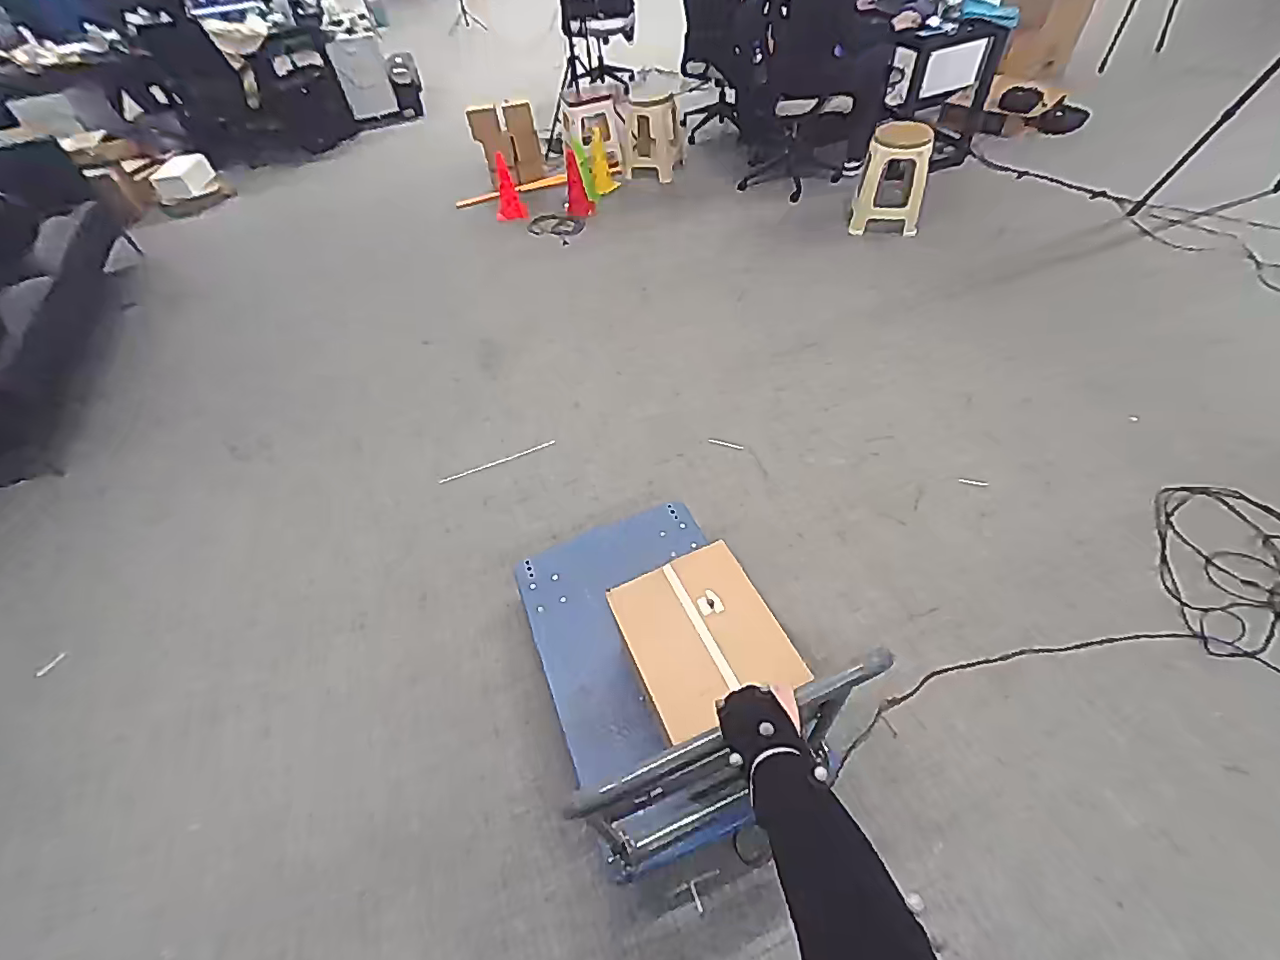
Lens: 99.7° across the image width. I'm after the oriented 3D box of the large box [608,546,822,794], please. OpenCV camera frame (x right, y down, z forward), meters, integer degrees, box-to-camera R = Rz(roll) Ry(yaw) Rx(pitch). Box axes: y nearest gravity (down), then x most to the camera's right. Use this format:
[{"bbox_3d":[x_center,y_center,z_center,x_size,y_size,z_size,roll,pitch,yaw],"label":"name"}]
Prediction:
[{"bbox_3d":[0.160,0.441,1.273,0.320,0.320,0.408,-22,51,-12],"label":"large box"}]
